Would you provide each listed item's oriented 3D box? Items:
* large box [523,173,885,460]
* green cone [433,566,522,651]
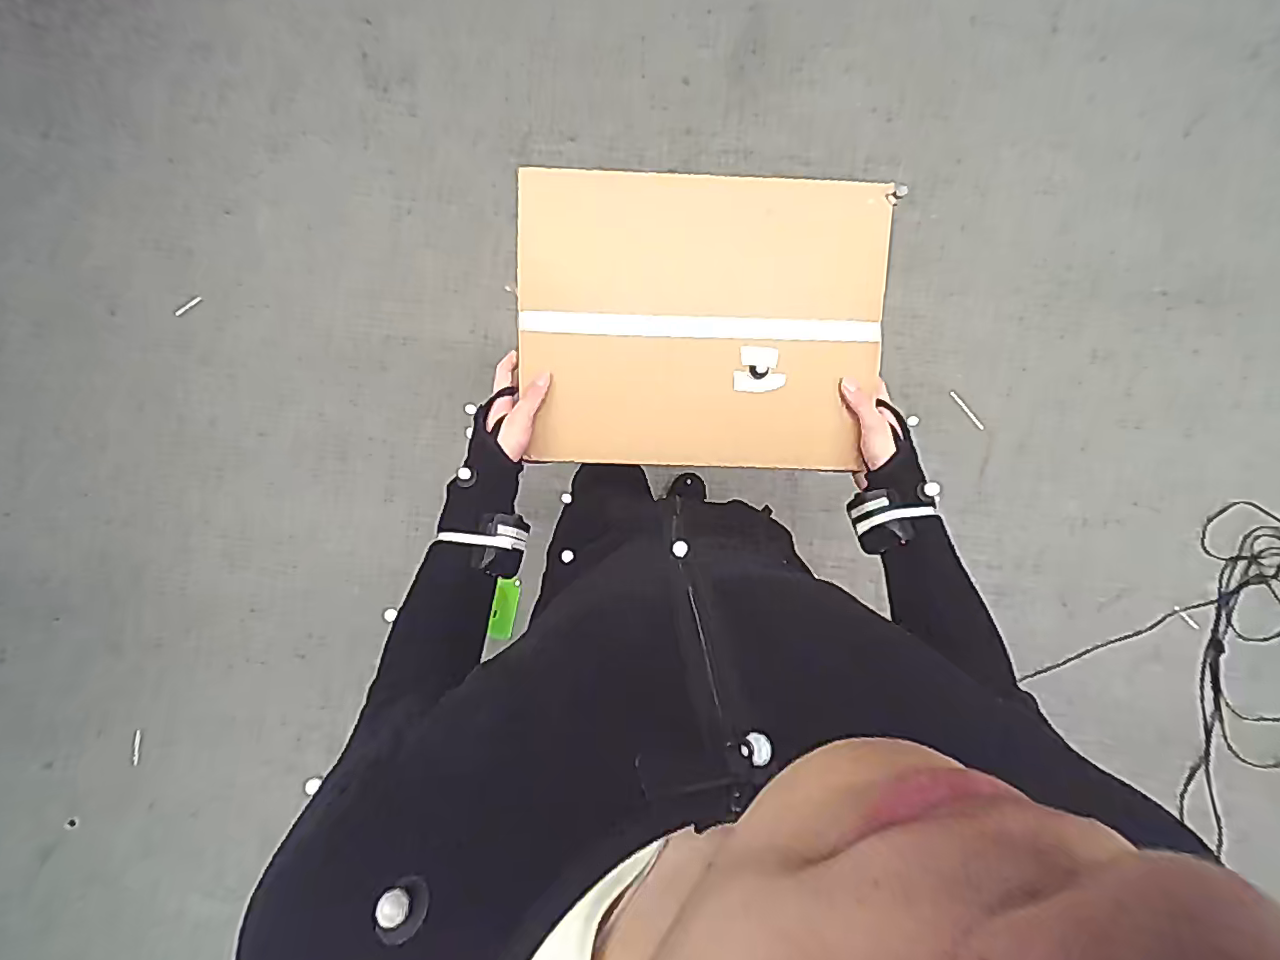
[{"bbox_3d":[0.065,-0.200,0.757,0.408,0.320,0.320,1,100,-2],"label":"large box"},{"bbox_3d":[-0.480,0.382,1.491,0.200,0.368,0.202,12,93,2],"label":"green cone"}]
